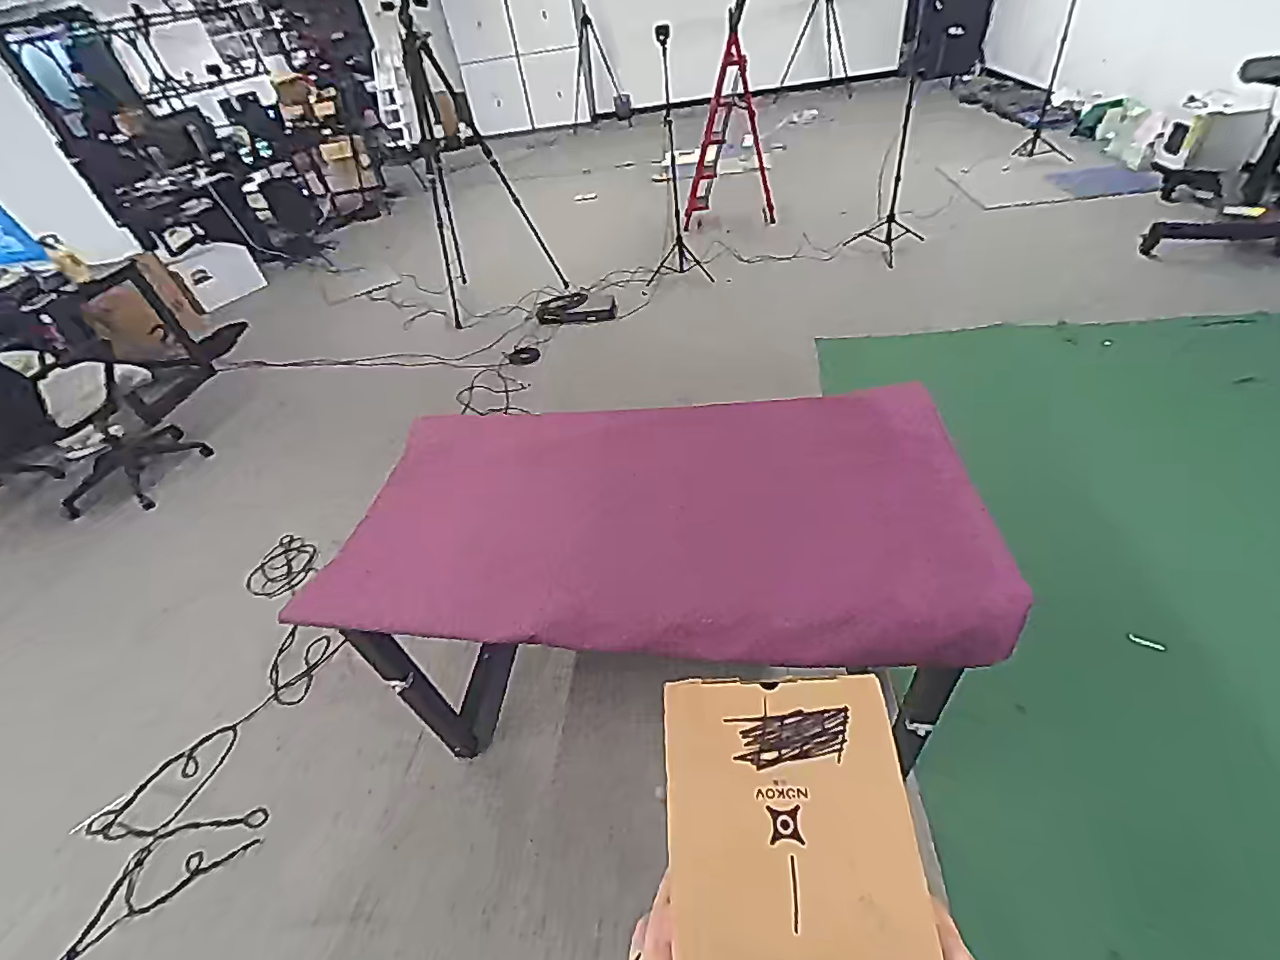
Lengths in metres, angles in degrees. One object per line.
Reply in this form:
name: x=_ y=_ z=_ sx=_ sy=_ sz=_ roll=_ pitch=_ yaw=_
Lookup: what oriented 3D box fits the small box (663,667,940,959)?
small box: x=0.108 y=0.261 z=0.435 sx=0.168 sy=0.176 sz=0.179 roll=-5 pitch=58 yaw=8
